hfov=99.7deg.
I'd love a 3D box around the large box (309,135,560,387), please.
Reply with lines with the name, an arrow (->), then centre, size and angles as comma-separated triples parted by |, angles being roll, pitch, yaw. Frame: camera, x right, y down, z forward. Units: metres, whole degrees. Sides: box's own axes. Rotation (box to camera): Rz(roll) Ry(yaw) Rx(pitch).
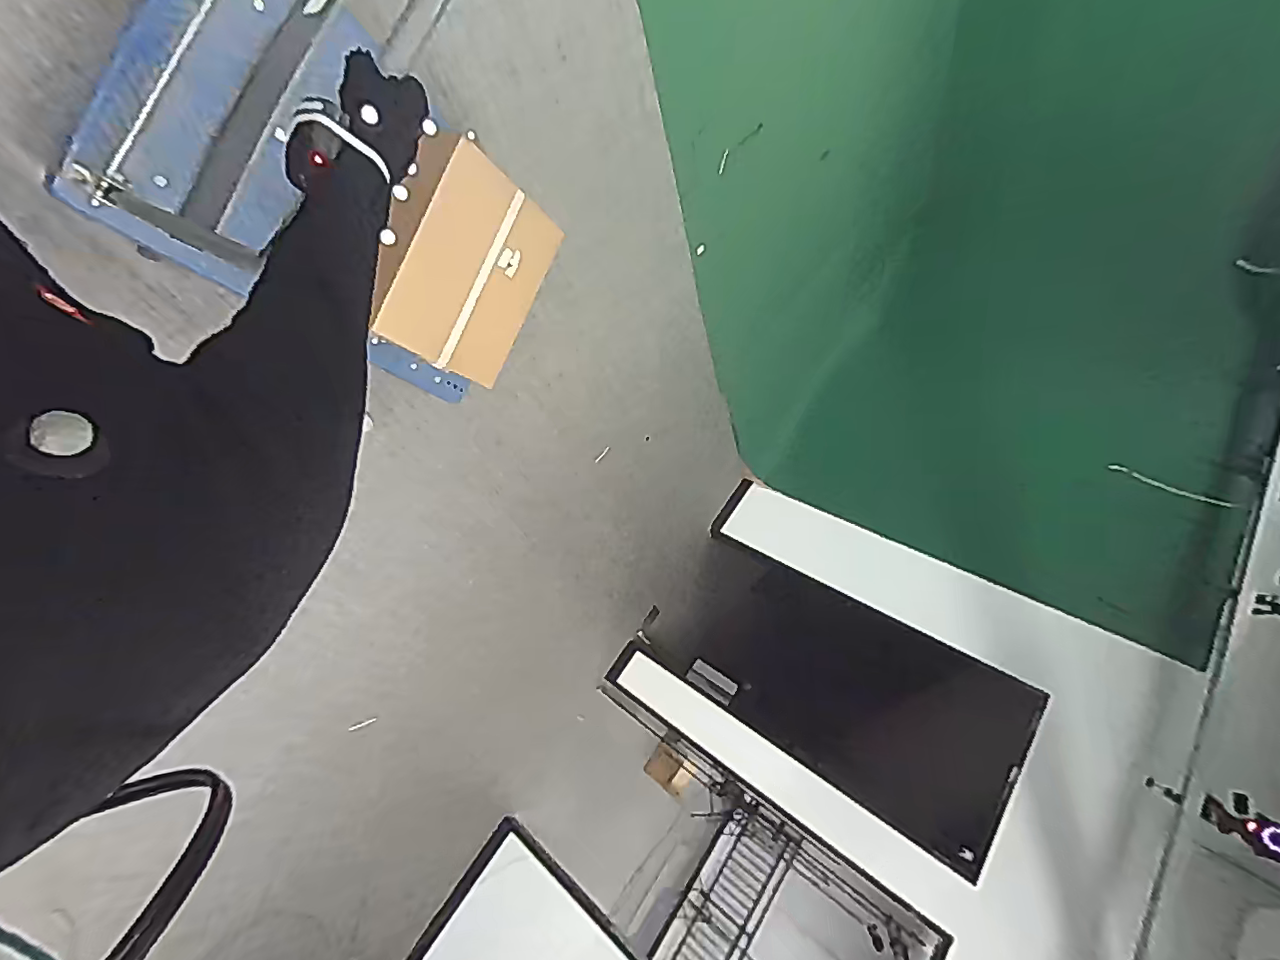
large box -> -0.451, -0.473, 1.202 | 0.320, 0.320, 0.408 | 23, 92, -59
